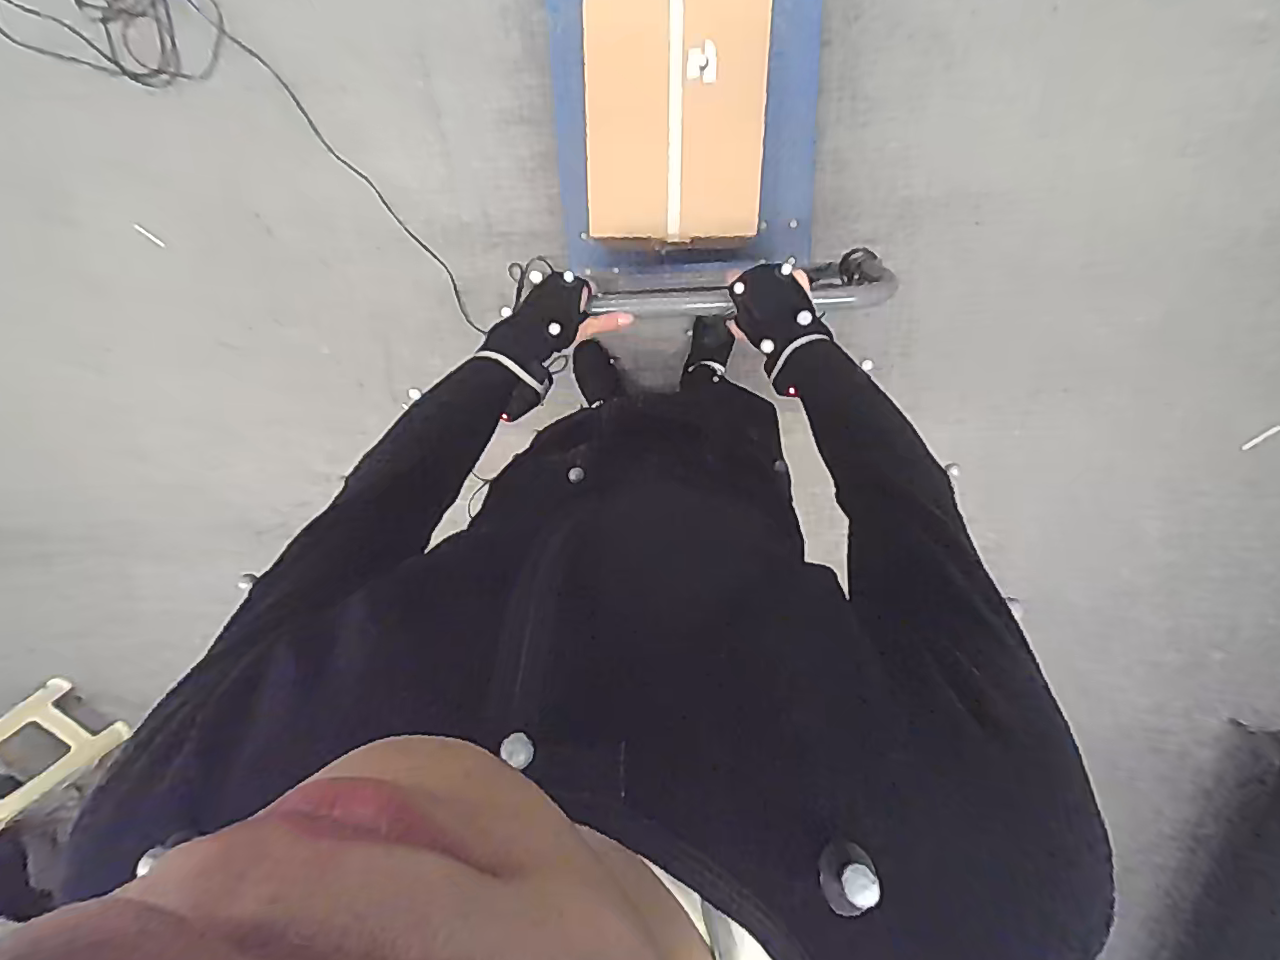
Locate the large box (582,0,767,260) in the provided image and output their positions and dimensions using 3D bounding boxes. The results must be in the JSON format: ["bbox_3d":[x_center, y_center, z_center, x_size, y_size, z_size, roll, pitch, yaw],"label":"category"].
[{"bbox_3d":[0.068,-0.674,1.093,0.320,0.320,0.408,1,108,3],"label":"large box"}]
